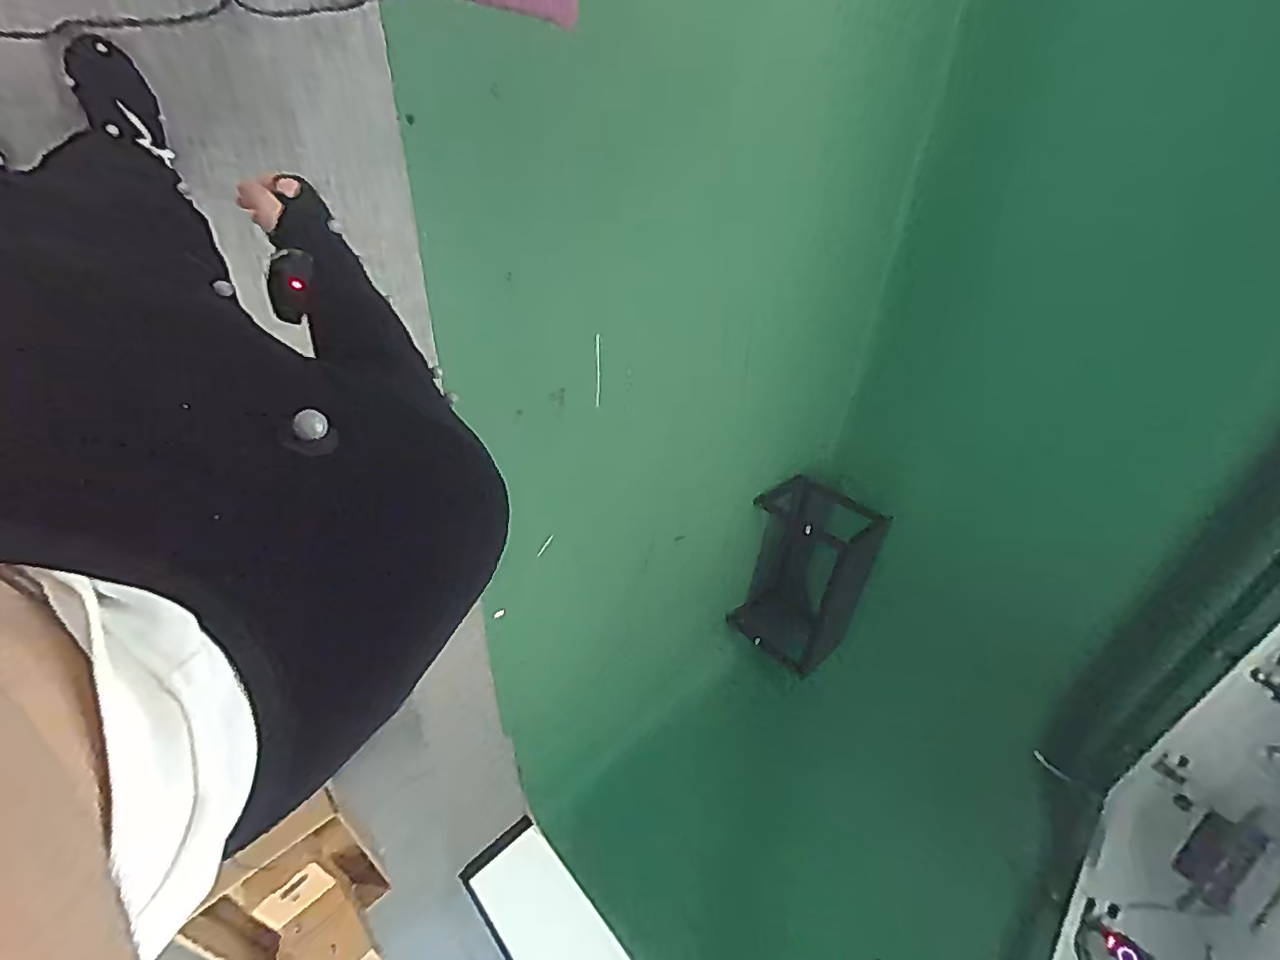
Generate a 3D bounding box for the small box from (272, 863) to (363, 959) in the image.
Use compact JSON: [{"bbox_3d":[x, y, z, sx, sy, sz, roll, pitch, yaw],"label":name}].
[{"bbox_3d":[-1.019,1.367,1.708,0.179,0.176,0.168,-32,138,-31],"label":"small box"}]
